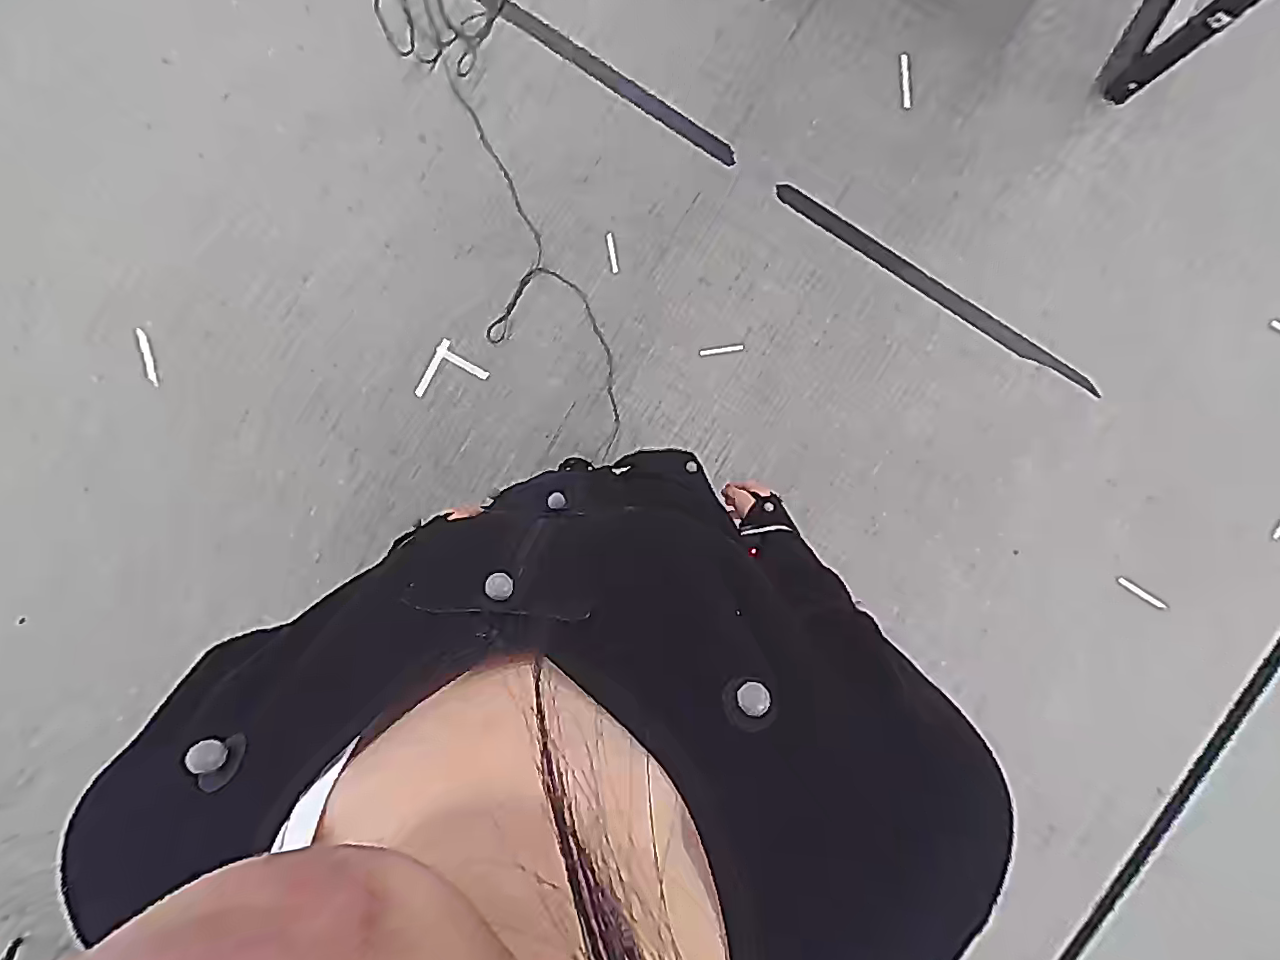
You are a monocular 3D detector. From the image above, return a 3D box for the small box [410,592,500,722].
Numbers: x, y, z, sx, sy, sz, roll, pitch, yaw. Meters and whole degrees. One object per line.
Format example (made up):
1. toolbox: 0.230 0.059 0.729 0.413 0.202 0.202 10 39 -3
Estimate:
1. small box: -0.416 0.362 1.135 0.168 0.176 0.179 29 92 -1
